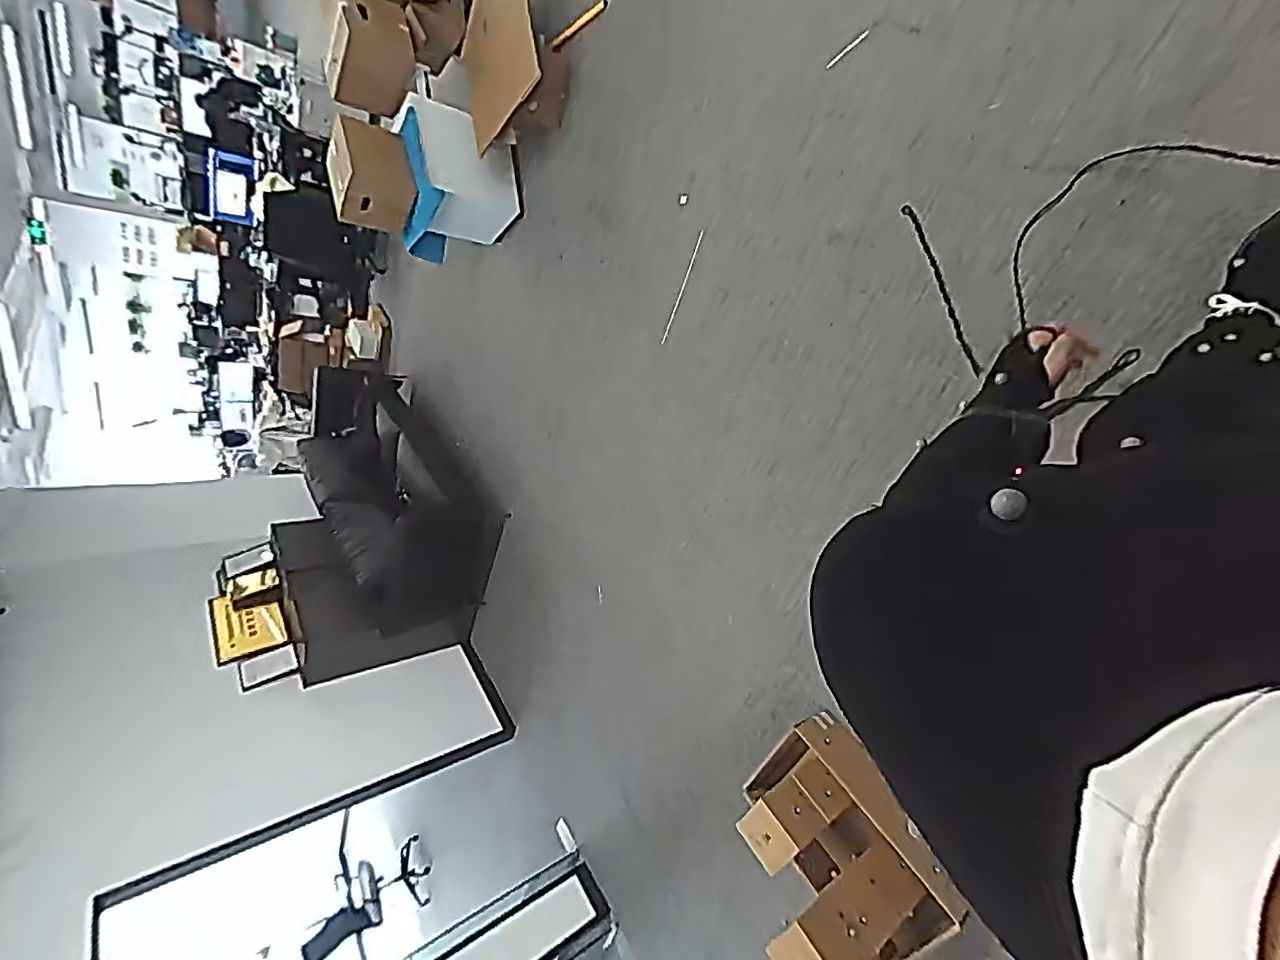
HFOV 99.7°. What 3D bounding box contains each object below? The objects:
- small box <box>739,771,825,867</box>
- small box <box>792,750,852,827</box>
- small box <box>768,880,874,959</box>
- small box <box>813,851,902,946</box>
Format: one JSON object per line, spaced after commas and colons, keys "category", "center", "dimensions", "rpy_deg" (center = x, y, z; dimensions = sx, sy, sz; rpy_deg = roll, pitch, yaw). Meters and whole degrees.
{"category": "small box", "center": [0.451, 1.055, 1.697], "dimensions": [0.168, 0.176, 0.179], "rpy_deg": [48, 127, 34]}
{"category": "small box", "center": [0.575, 1.042, 1.805], "dimensions": [0.168, 0.176, 0.179], "rpy_deg": [47, 127, 34]}
{"category": "small box", "center": [0.480, 1.215, 1.428], "dimensions": [0.168, 0.176, 0.179], "rpy_deg": [46, 125, 36]}
{"category": "small box", "center": [0.605, 1.208, 1.534], "dimensions": [0.168, 0.176, 0.179], "rpy_deg": [46, 126, 36]}
